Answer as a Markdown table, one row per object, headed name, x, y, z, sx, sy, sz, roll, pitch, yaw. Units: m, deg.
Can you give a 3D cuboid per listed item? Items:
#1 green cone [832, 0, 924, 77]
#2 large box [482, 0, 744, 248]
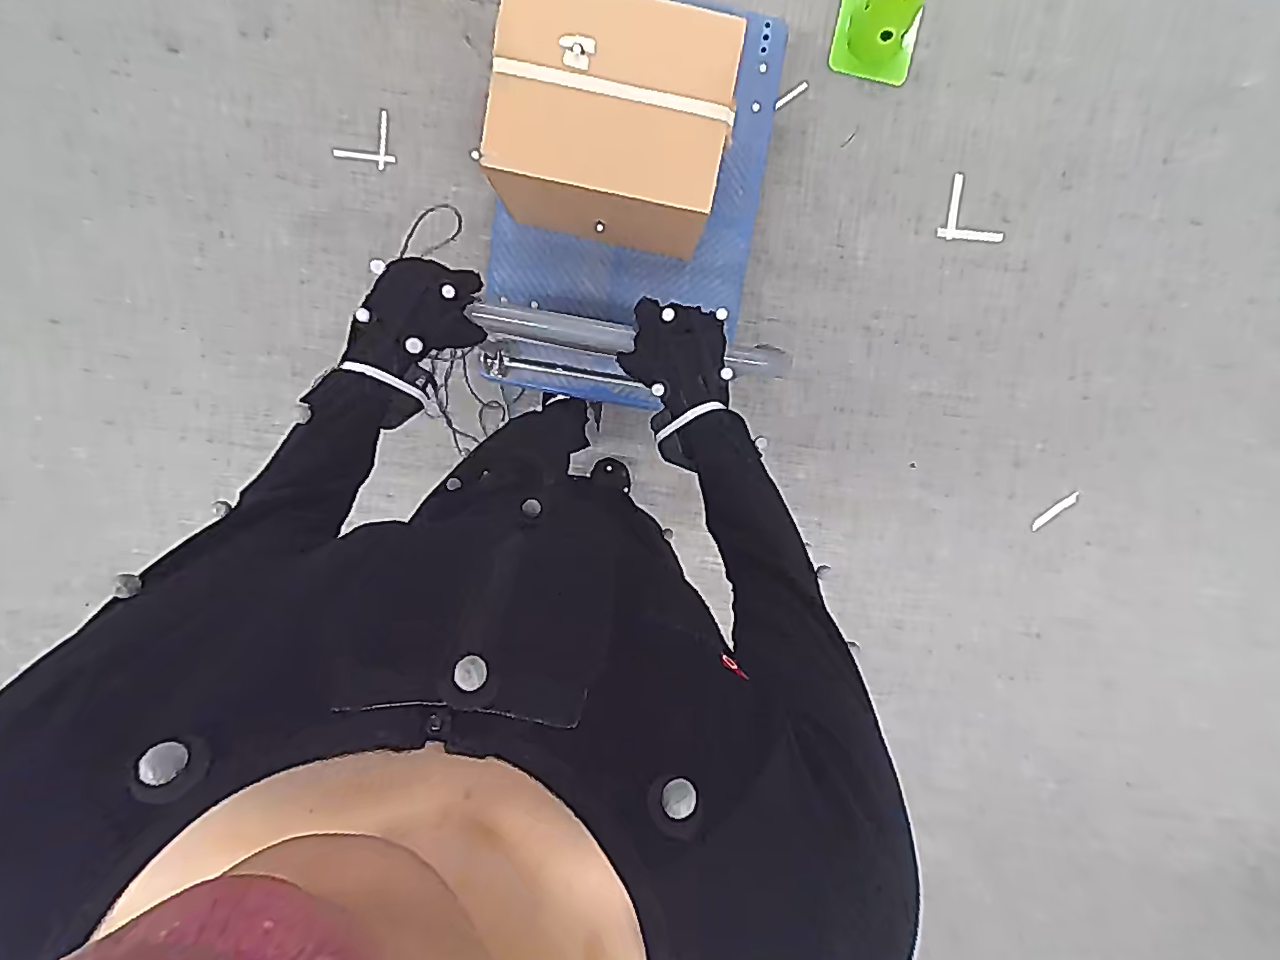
| name | x | y | z | sx | sy | sz | roll | pitch | yaw |
| --- | --- | --- | --- | --- | --- | --- | --- | --- | --- |
| green cone | 0.590 | -1.090 | 1.156 | 0.202 | 0.368 | 0.200 | 11 | 97 | -4 |
| large box | -0.047 | -0.678 | 1.051 | 0.408 | 0.320 | 0.320 | 11 | 98 | -2 |
